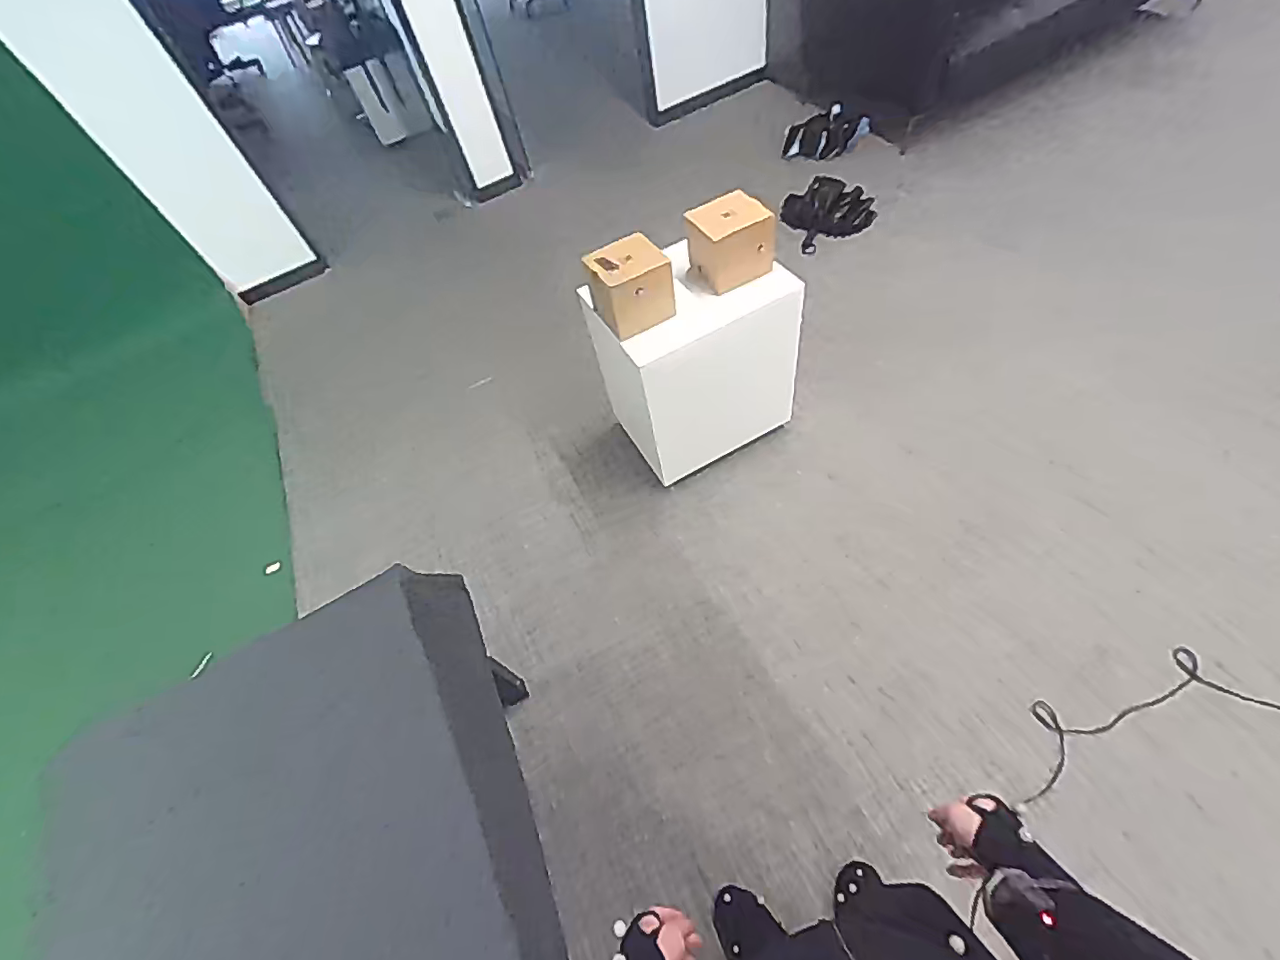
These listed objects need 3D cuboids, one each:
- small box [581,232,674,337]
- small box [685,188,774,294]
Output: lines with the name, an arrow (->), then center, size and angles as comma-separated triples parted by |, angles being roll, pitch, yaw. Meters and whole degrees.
small box -> -0.027, -0.502, 1.402 | 0.179, 0.176, 0.168 | -28, 56, -11
small box -> 0.237, -0.635, 1.444 | 0.179, 0.176, 0.168 | -27, 55, -6
